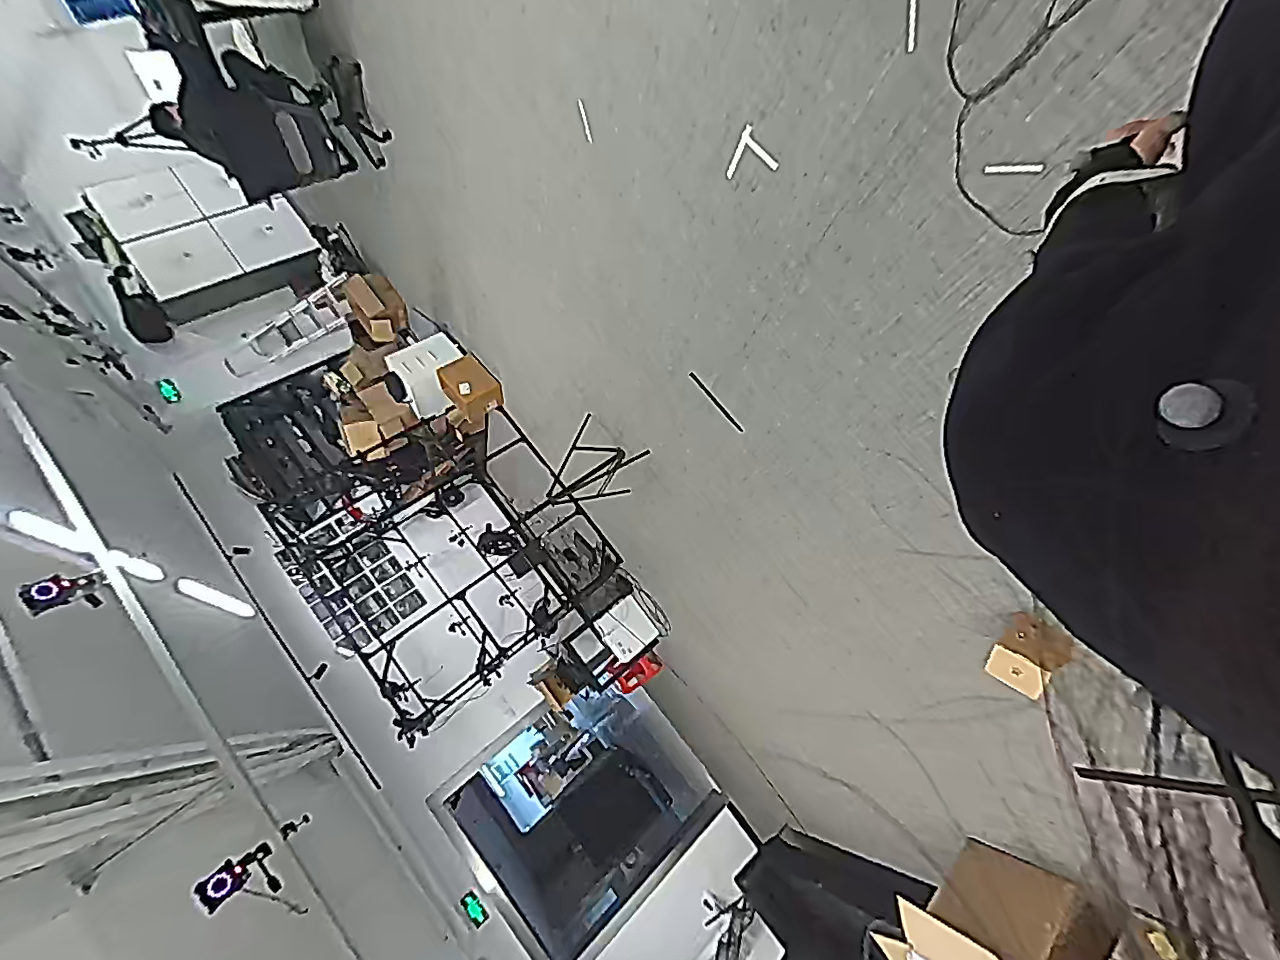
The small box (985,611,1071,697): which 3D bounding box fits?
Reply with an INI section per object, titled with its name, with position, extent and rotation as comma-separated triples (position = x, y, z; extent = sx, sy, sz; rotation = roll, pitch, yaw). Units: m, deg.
[small box]
position = 1.296, 0.574, 1.804
extent = 0.168, 0.176, 0.179
rotation = 32, 148, 41
